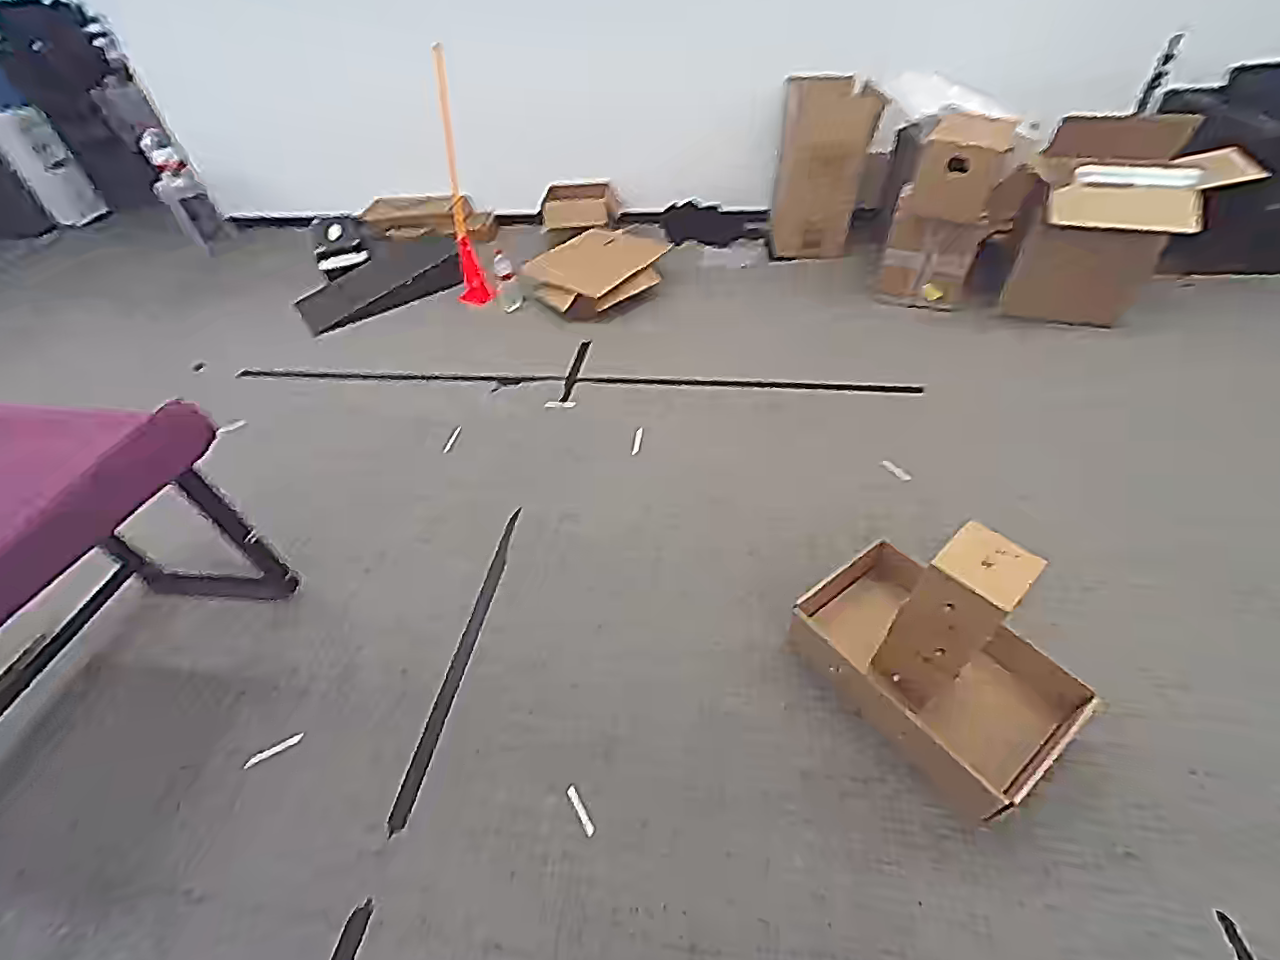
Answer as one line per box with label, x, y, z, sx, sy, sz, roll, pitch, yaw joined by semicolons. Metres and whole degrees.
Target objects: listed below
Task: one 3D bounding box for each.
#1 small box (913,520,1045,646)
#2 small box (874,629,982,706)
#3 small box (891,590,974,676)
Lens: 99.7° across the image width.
small box;0.734;0.230;1.193;0.179;0.176;0.168;-33;54;-25
small box;0.750;0.457;1.429;0.179;0.176;0.168;-30;51;-22
small box;0.740;0.341;1.317;0.179;0.176;0.168;-32;53;-26
